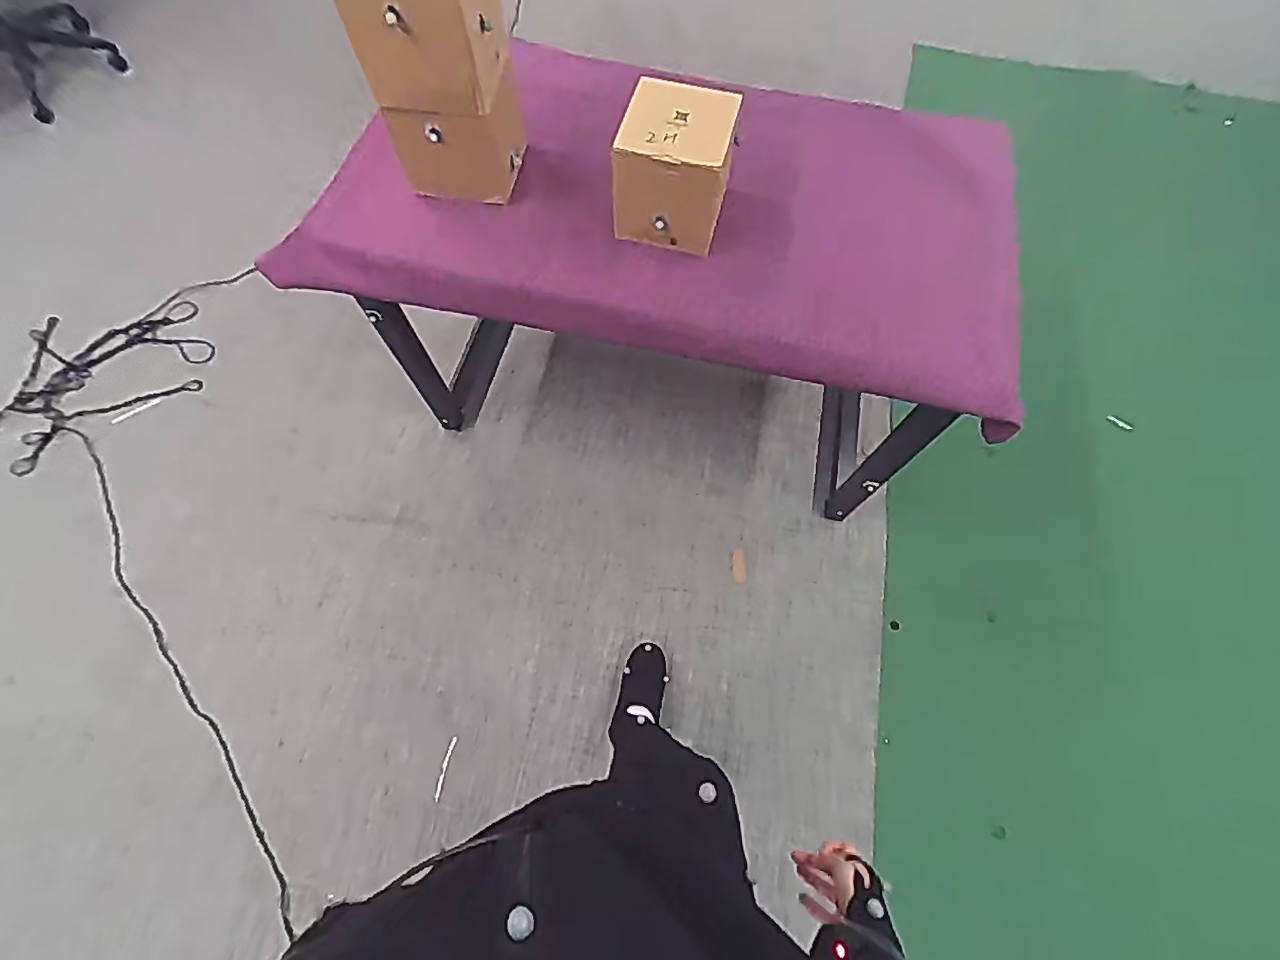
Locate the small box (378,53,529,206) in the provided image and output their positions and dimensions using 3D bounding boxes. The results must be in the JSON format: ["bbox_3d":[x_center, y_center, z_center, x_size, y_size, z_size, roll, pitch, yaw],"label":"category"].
[{"bbox_3d":[-0.304,-0.600,0.923,0.179,0.176,0.168,9,68,2],"label":"small box"}]

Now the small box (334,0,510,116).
[{"bbox_3d":[-0.297,-0.657,0.772,0.179,0.176,0.168,6,69,2],"label":"small box"}]

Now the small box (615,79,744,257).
[{"bbox_3d":[0.060,-0.505,0.888,0.168,0.176,0.179,14,68,5],"label":"small box"}]
